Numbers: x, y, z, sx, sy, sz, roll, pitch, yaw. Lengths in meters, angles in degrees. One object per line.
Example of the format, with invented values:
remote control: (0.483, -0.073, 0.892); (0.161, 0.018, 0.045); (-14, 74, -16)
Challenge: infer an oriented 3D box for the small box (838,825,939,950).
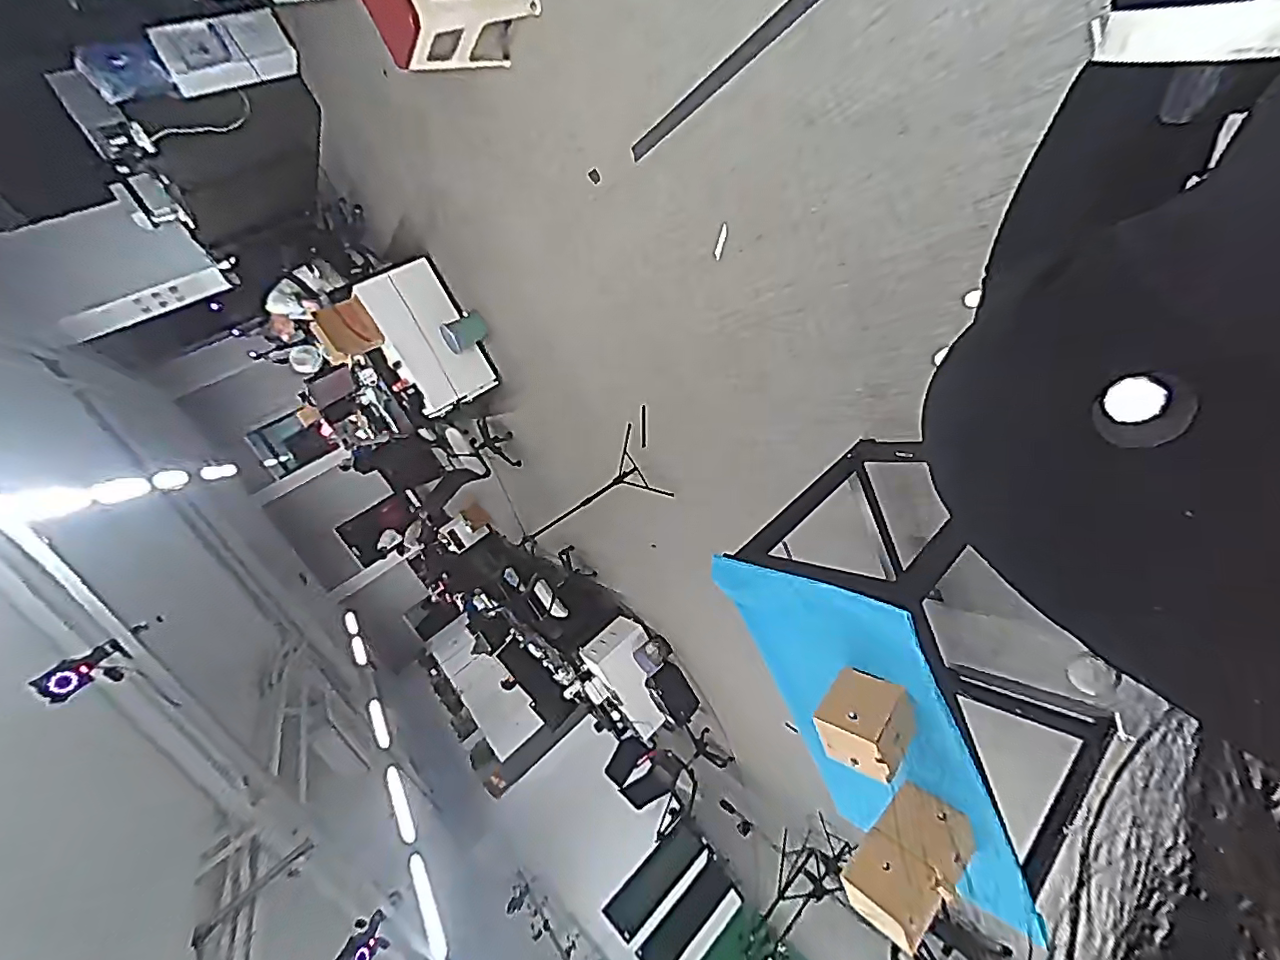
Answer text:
small box: (0.665, 1.091, 1.449); (0.179, 0.176, 0.168); (13, 133, 51)

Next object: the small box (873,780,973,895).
small box: (0.788, 0.997, 1.508); (0.179, 0.176, 0.168); (10, 130, 55)

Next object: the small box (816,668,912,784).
small box: (0.565, 0.618, 1.379); (0.176, 0.179, 0.168); (6, 128, 47)
